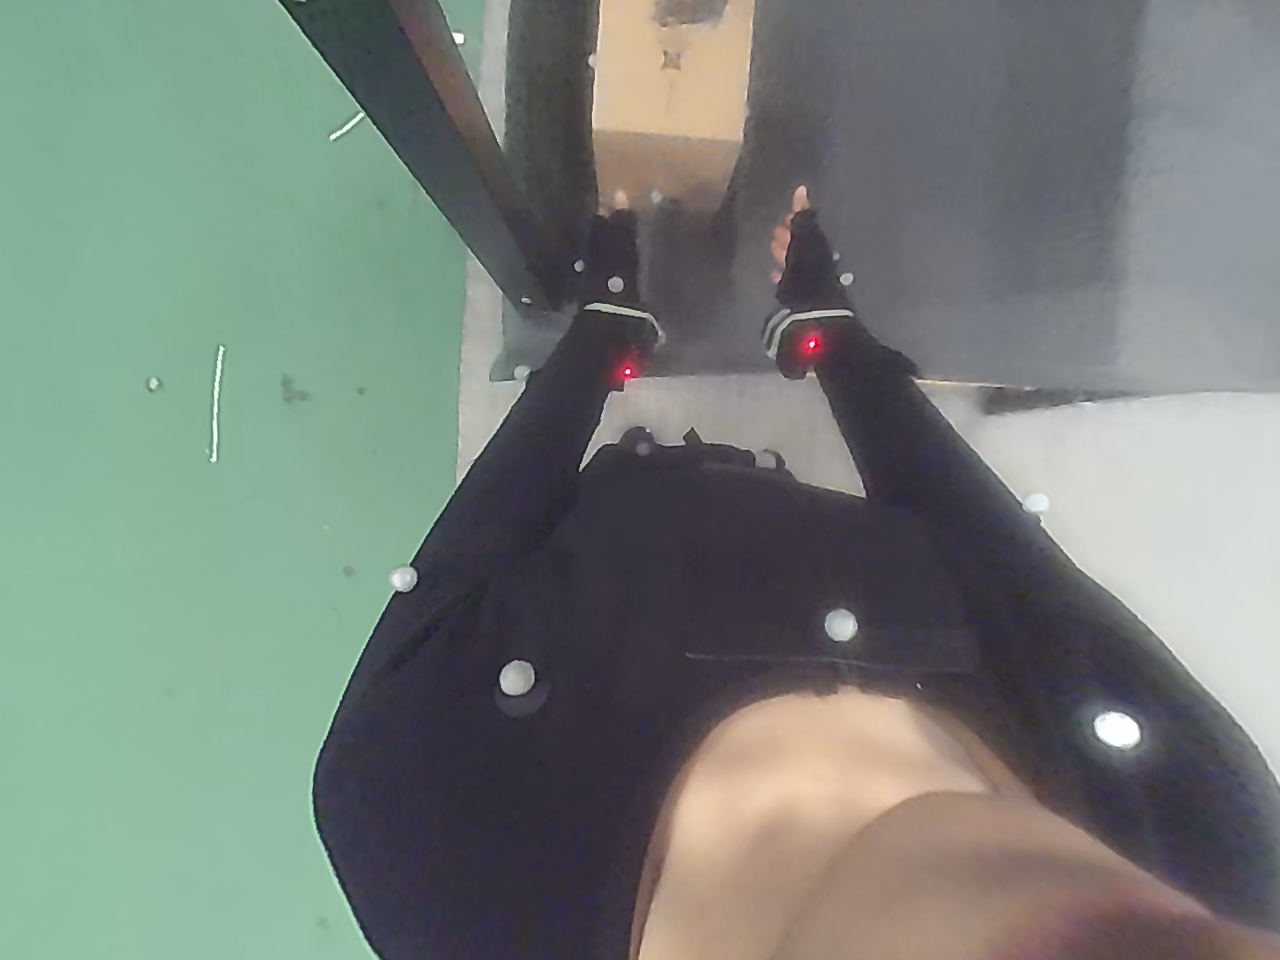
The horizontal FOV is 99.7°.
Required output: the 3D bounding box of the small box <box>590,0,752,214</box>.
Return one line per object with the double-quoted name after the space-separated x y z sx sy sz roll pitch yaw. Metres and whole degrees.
0.031 -0.456 0.658 0.168 0.176 0.179 4 92 -1 "small box"
